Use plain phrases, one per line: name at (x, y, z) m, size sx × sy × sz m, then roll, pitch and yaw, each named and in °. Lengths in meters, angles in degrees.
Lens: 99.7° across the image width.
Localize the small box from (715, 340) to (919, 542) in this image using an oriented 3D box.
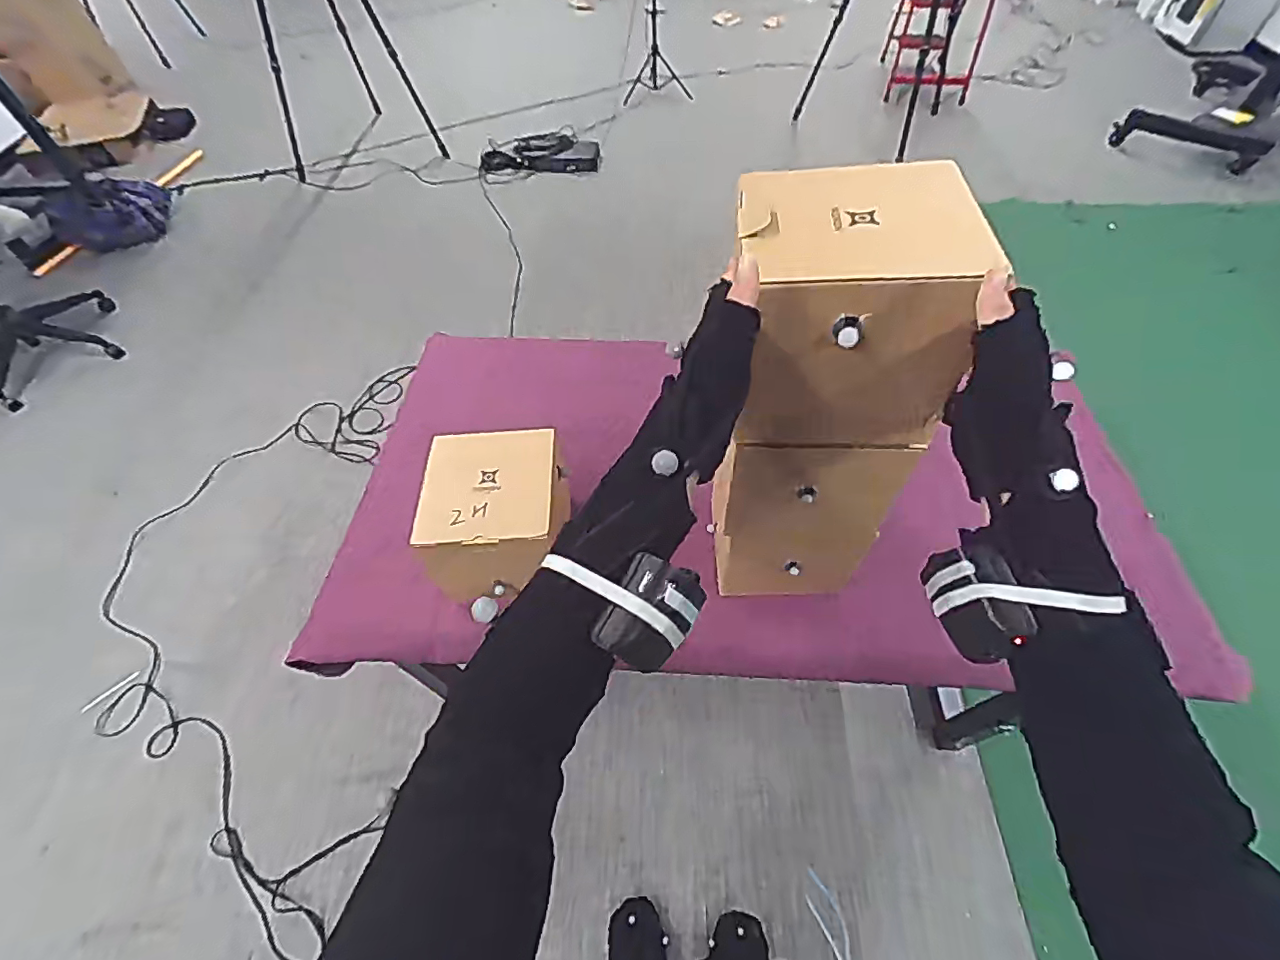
small box at (0.180, -0.040, 0.613) m, size 0.179 × 0.176 × 0.168 m, roll 2°, pitch 54°, yaw 4°

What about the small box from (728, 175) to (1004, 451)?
small box at (0.170, -0.138, 0.474) m, size 0.179 × 0.176 × 0.168 m, roll 1°, pitch 53°, yaw 9°

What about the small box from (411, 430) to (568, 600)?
small box at (-0.194, 0.051, 0.756) m, size 0.168 × 0.176 × 0.179 m, roll -3°, pitch 54°, yaw -1°
